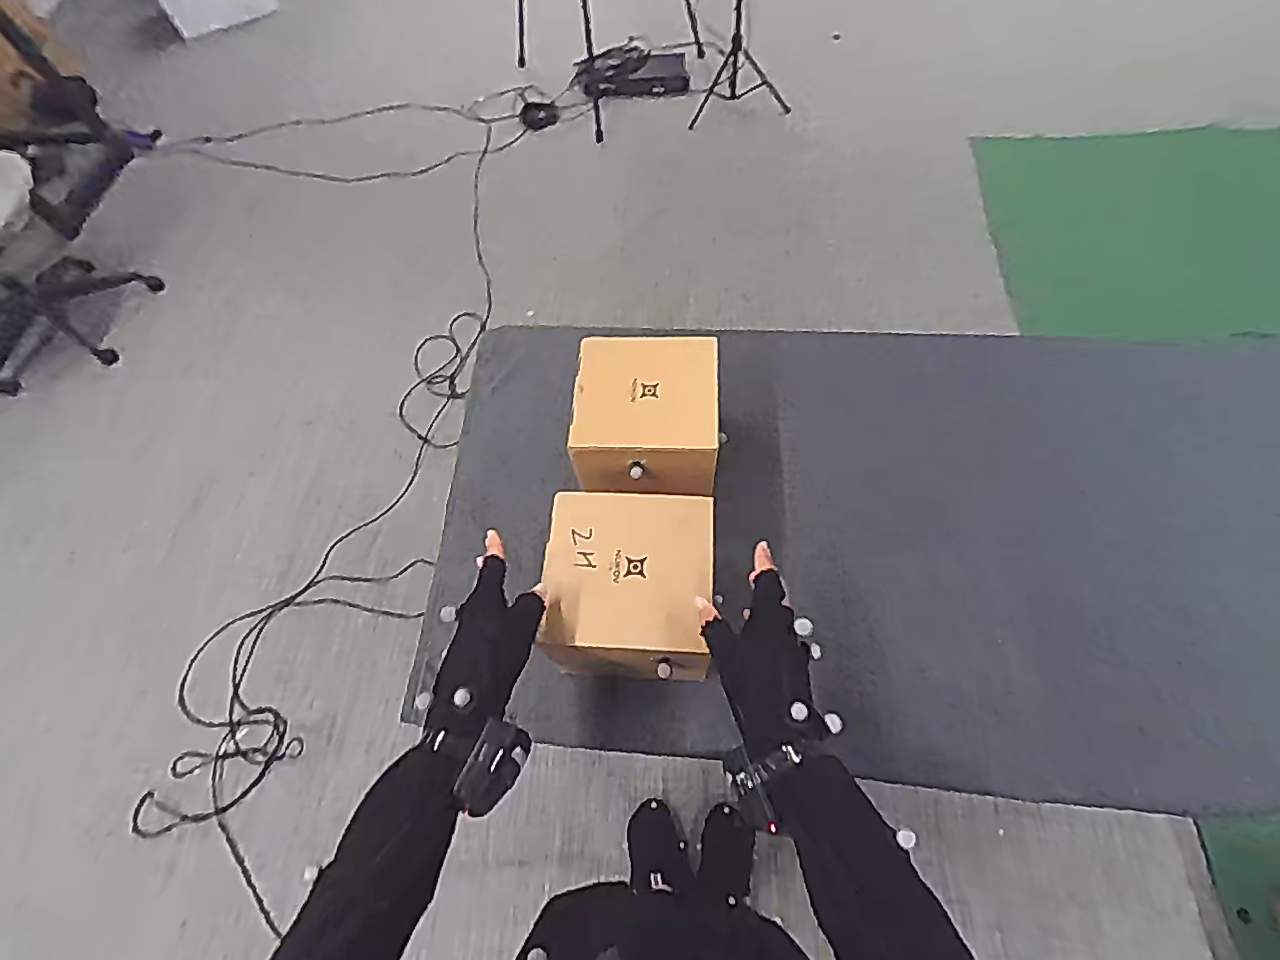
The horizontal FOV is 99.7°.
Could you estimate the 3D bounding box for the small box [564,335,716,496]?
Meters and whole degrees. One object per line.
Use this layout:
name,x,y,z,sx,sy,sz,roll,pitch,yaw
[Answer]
small box,0.009,-0.074,0.721,0.179,0.176,0.168,0,63,6

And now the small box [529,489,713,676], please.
small box,-0.010,0.123,0.616,0.179,0.176,0.168,1,62,5
